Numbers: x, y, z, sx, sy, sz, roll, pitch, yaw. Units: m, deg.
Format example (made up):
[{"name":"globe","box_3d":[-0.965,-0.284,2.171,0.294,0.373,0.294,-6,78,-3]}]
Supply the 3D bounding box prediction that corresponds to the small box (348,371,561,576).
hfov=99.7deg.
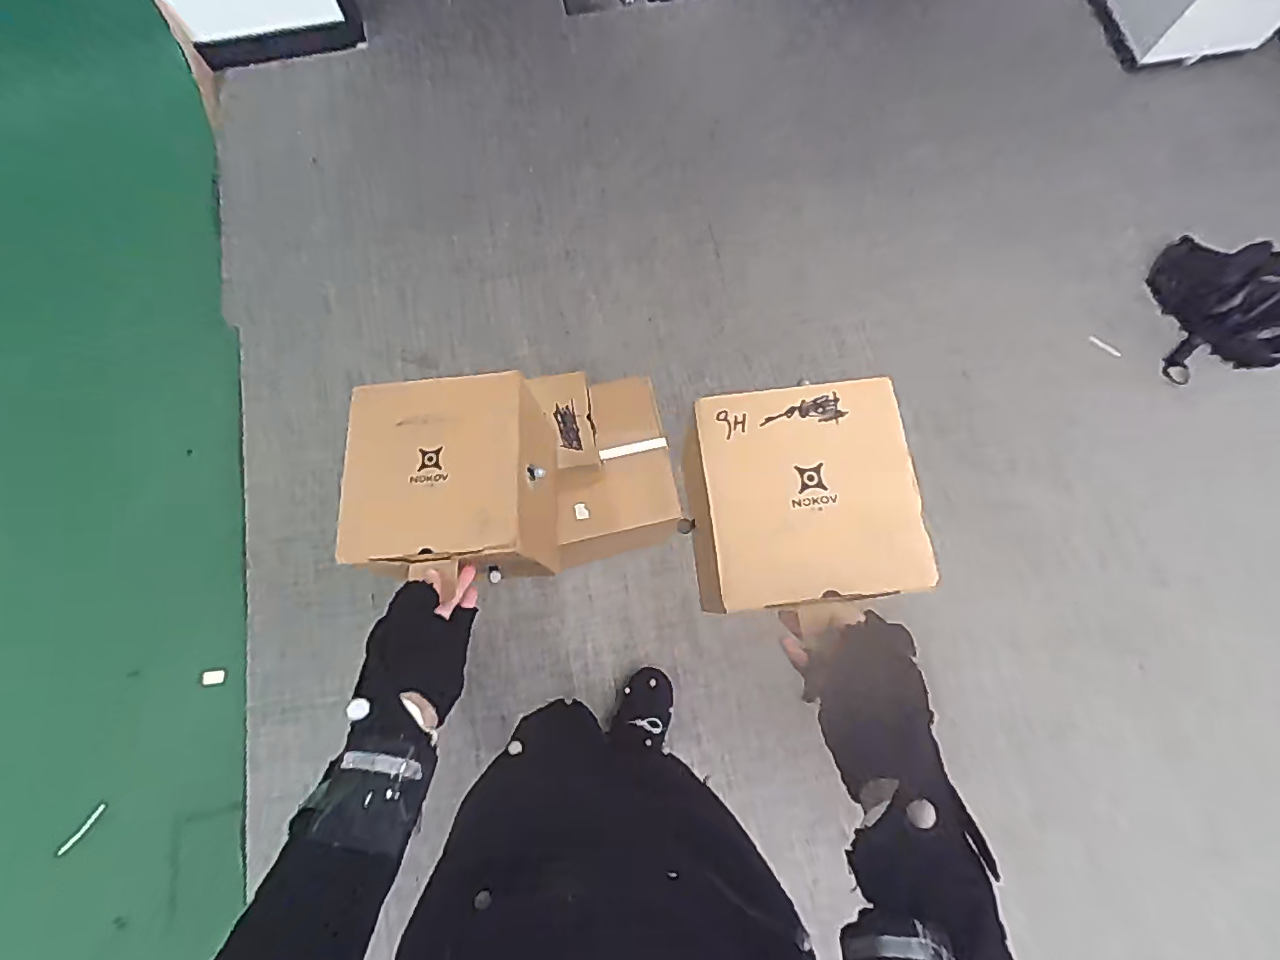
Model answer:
[{"name":"small box","box_3d":[-0.182,0.006,0.583,0.168,0.176,0.179,-5,71,2]}]

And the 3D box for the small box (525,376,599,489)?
[{"name":"small box","box_3d":[-0.167,-0.077,0.979,0.179,0.176,0.168,-6,79,-3]}]

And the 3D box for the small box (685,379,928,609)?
[{"name":"small box","box_3d":[0.137,0.023,0.514,0.168,0.176,0.179,-6,78,-1]}]
